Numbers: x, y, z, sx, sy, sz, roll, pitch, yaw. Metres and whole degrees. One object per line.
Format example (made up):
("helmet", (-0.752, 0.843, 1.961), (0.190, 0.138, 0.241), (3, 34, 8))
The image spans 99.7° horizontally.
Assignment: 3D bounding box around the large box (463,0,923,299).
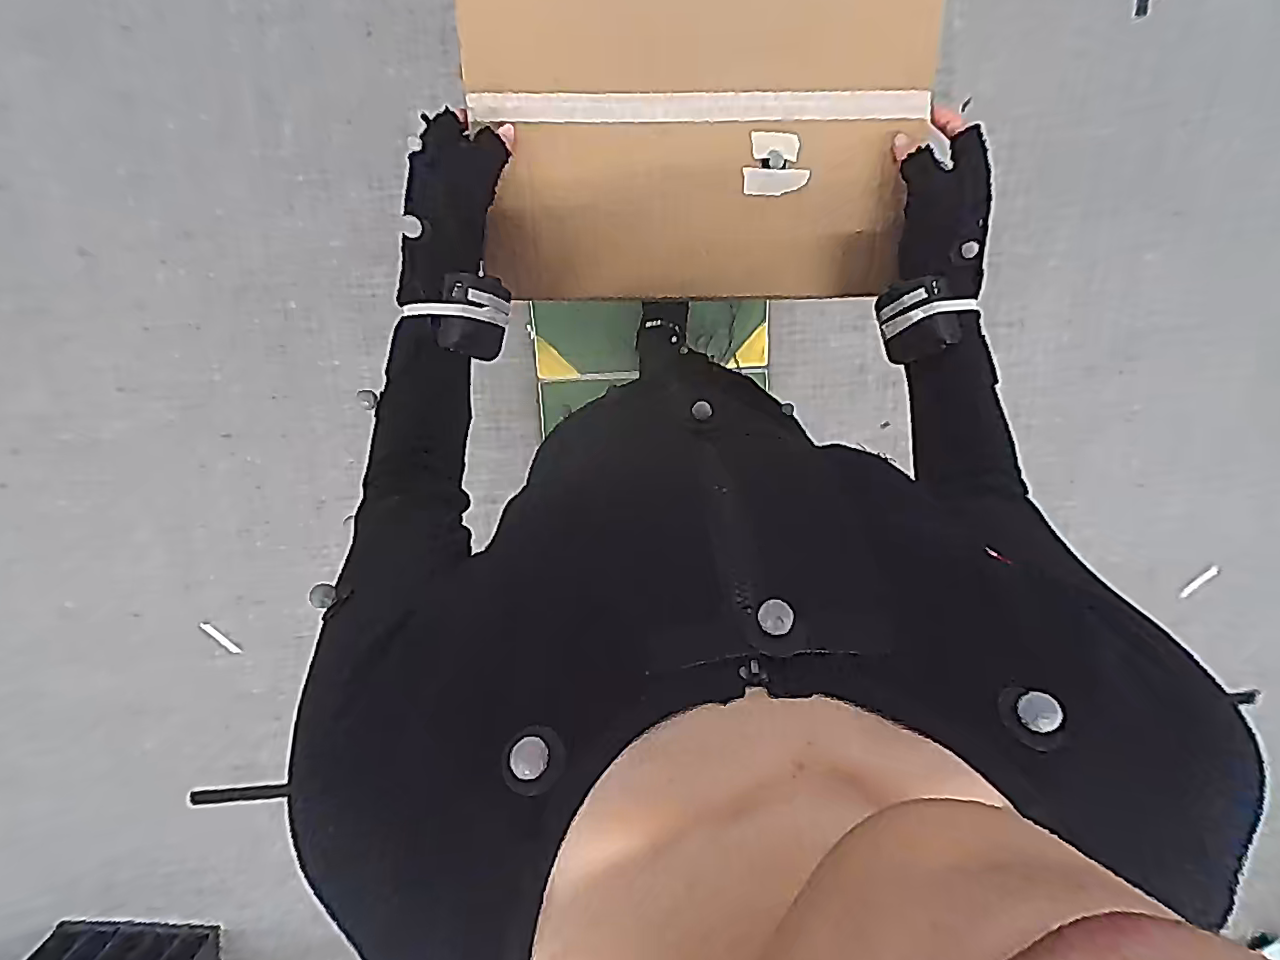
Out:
("large box", (0.043, -0.384, 0.629), (0.408, 0.320, 0.320), (-2, 108, -2))
